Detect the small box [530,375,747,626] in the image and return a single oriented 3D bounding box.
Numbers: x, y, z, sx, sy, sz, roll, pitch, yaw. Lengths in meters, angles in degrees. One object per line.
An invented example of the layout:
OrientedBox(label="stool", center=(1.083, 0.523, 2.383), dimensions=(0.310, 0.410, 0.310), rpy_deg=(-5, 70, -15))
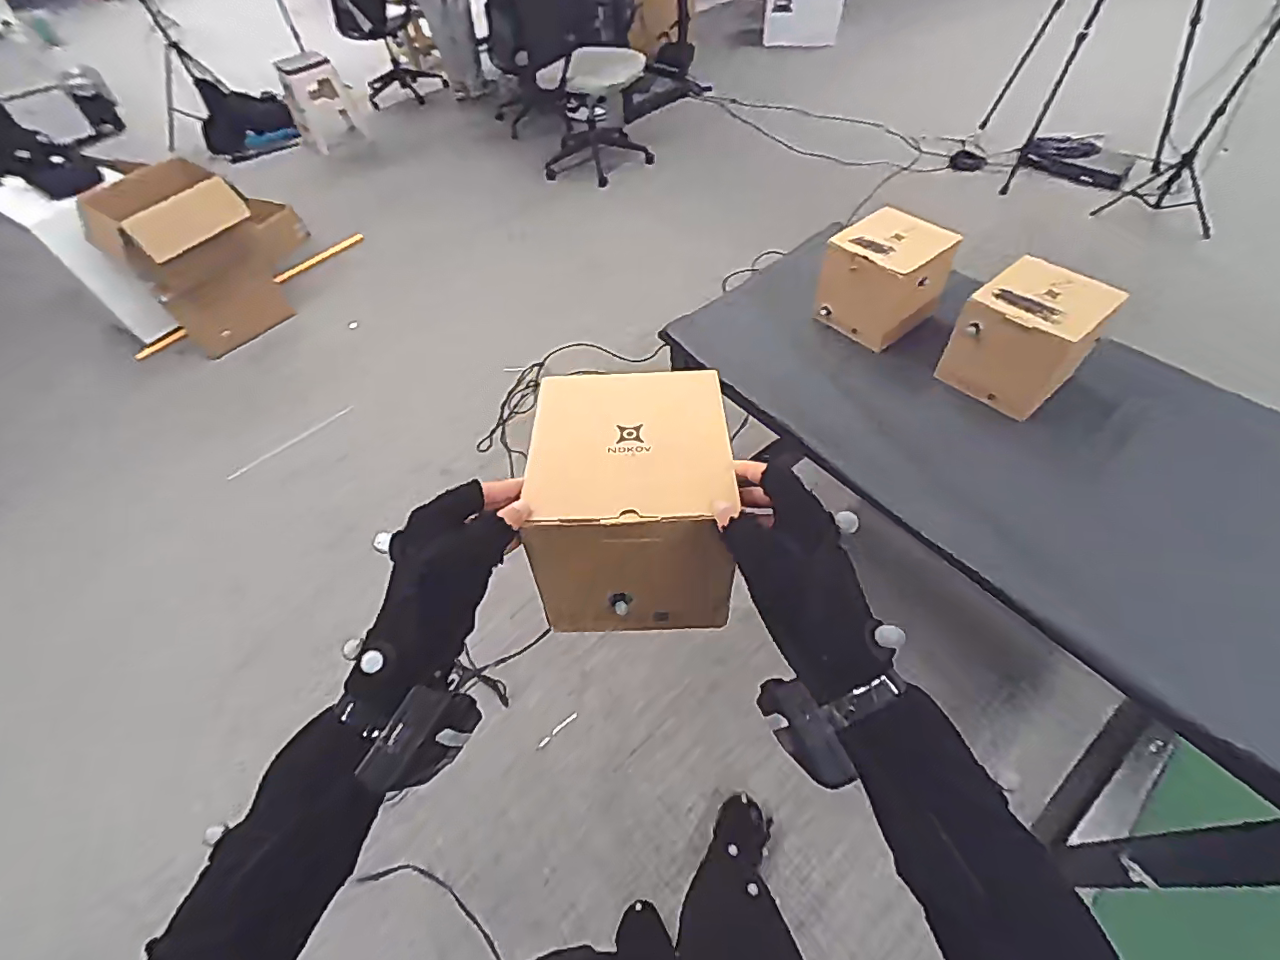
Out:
OrientedBox(label="small box", center=(0.001, 0.020, 0.515), dimensions=(0.168, 0.176, 0.179), rpy_deg=(-2, 48, 1))

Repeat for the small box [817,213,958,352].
OrientedBox(label="small box", center=(0.467, -0.380, 1.049), dimensions=(0.179, 0.176, 0.168), rpy_deg=(-34, 57, -19))
